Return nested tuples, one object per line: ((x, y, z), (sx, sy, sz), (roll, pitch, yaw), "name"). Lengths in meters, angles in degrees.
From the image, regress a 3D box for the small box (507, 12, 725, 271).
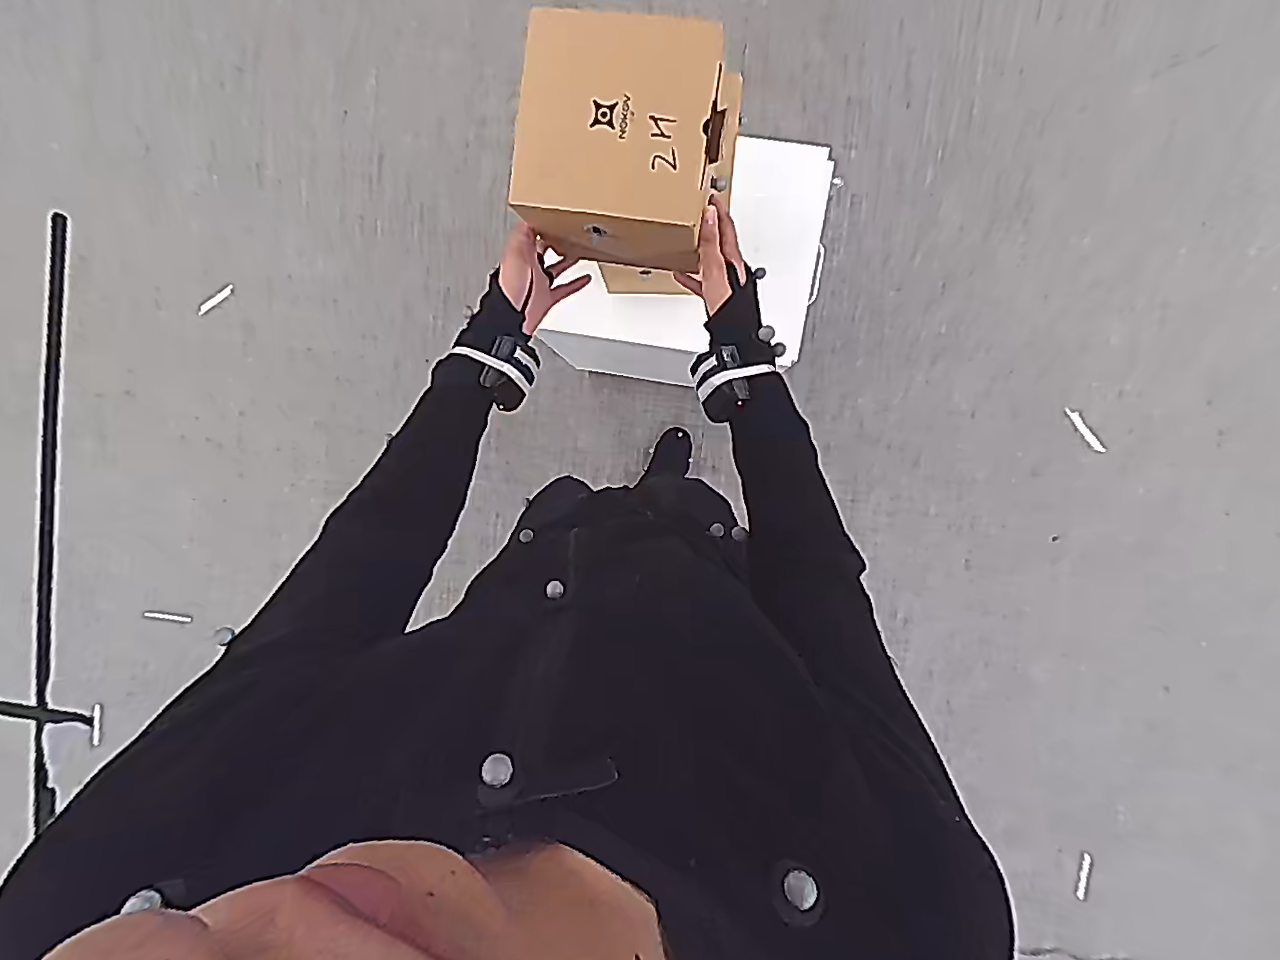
((-0.015, -0.326, 0.554), (0.179, 0.176, 0.168), (10, 98, 6), "small box")

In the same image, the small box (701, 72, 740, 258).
((0.041, -0.428, 0.756), (0.168, 0.176, 0.179), (5, 93, 3), "small box")

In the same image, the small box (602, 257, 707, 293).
((0.025, -0.425, 0.920), (0.179, 0.176, 0.168), (2, 93, 2), "small box")
